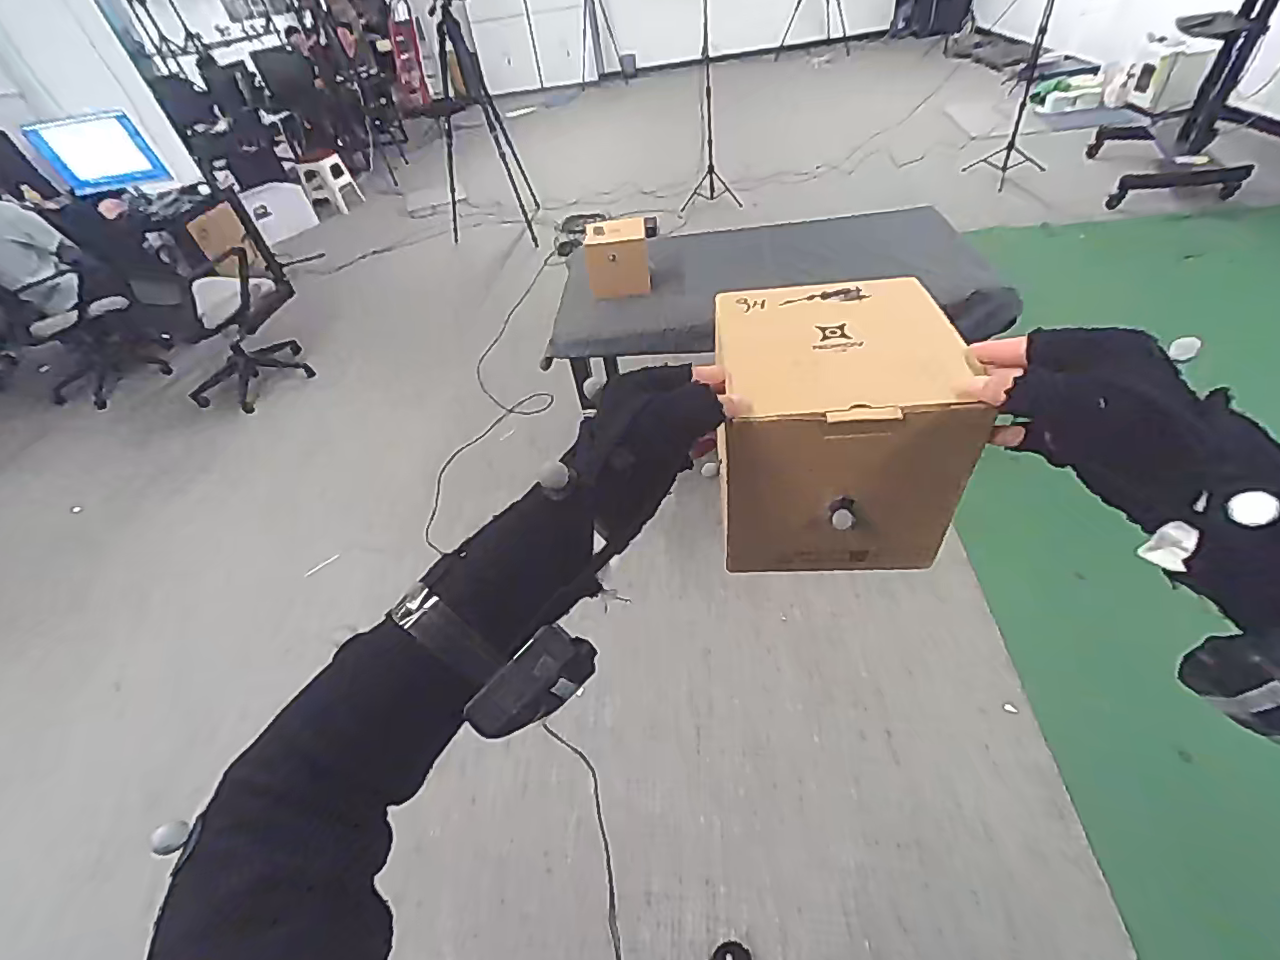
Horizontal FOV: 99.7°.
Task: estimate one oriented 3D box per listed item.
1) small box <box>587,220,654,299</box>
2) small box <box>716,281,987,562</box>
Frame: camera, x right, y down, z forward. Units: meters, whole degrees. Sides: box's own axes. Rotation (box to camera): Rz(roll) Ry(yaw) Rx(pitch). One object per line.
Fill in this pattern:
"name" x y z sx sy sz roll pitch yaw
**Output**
"small box" -0.053 -0.658 1.627 0.179 0.176 0.168 -4 45 4
"small box" 0.151 -0.043 0.458 0.168 0.176 0.179 -2 46 7
